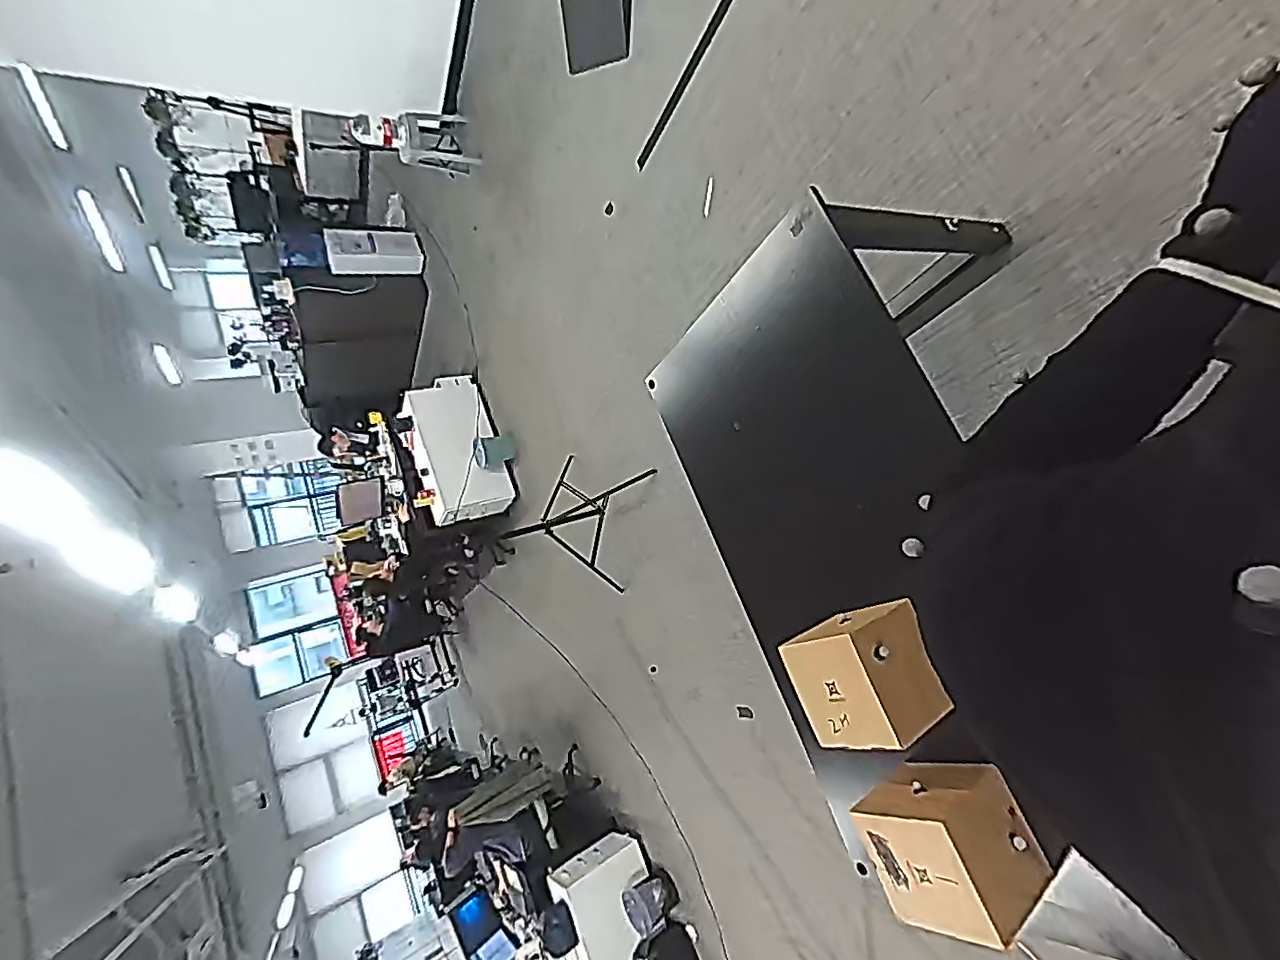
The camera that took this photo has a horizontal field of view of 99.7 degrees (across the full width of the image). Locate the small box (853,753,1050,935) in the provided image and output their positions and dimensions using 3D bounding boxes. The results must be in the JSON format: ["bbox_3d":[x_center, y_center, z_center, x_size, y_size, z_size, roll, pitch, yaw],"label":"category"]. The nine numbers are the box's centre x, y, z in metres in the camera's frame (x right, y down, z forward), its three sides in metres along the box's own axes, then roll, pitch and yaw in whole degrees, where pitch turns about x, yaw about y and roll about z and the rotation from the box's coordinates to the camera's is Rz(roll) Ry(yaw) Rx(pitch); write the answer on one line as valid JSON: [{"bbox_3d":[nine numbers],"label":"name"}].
[{"bbox_3d":[0.483,0.549,0.846,0.179,0.176,0.168,-43,66,53],"label":"small box"}]

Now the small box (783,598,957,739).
[{"bbox_3d":[0.381,0.309,0.905,0.168,0.176,0.179,-42,67,55],"label":"small box"}]
